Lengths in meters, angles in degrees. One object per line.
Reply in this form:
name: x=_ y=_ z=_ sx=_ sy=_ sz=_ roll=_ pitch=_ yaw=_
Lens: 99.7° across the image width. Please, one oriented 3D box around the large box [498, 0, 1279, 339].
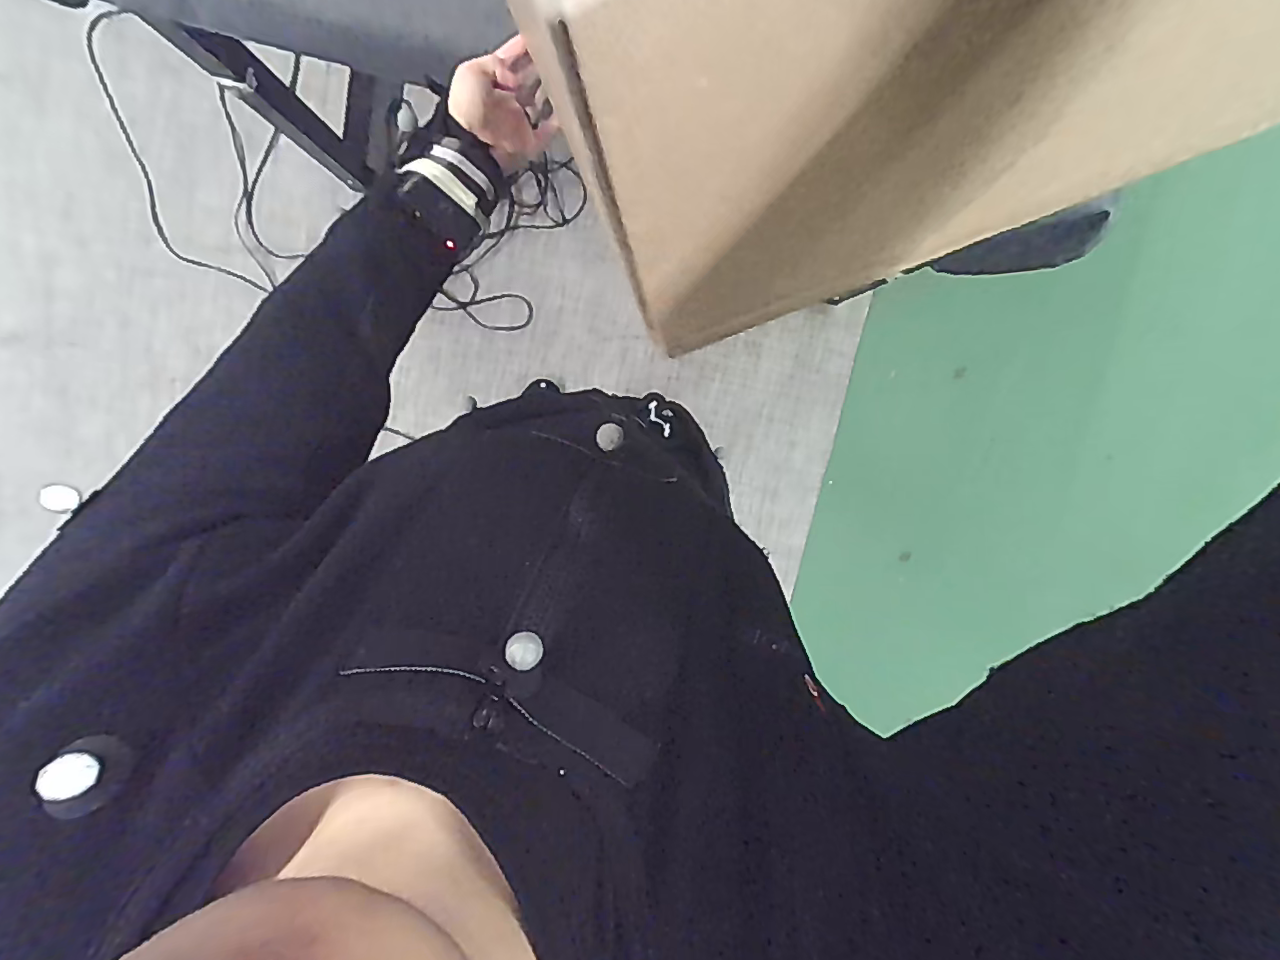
large box: x=0.062 y=-0.348 z=0.234 sx=0.320 sy=0.320 sz=0.408 roll=-23 pitch=60 yaw=2
